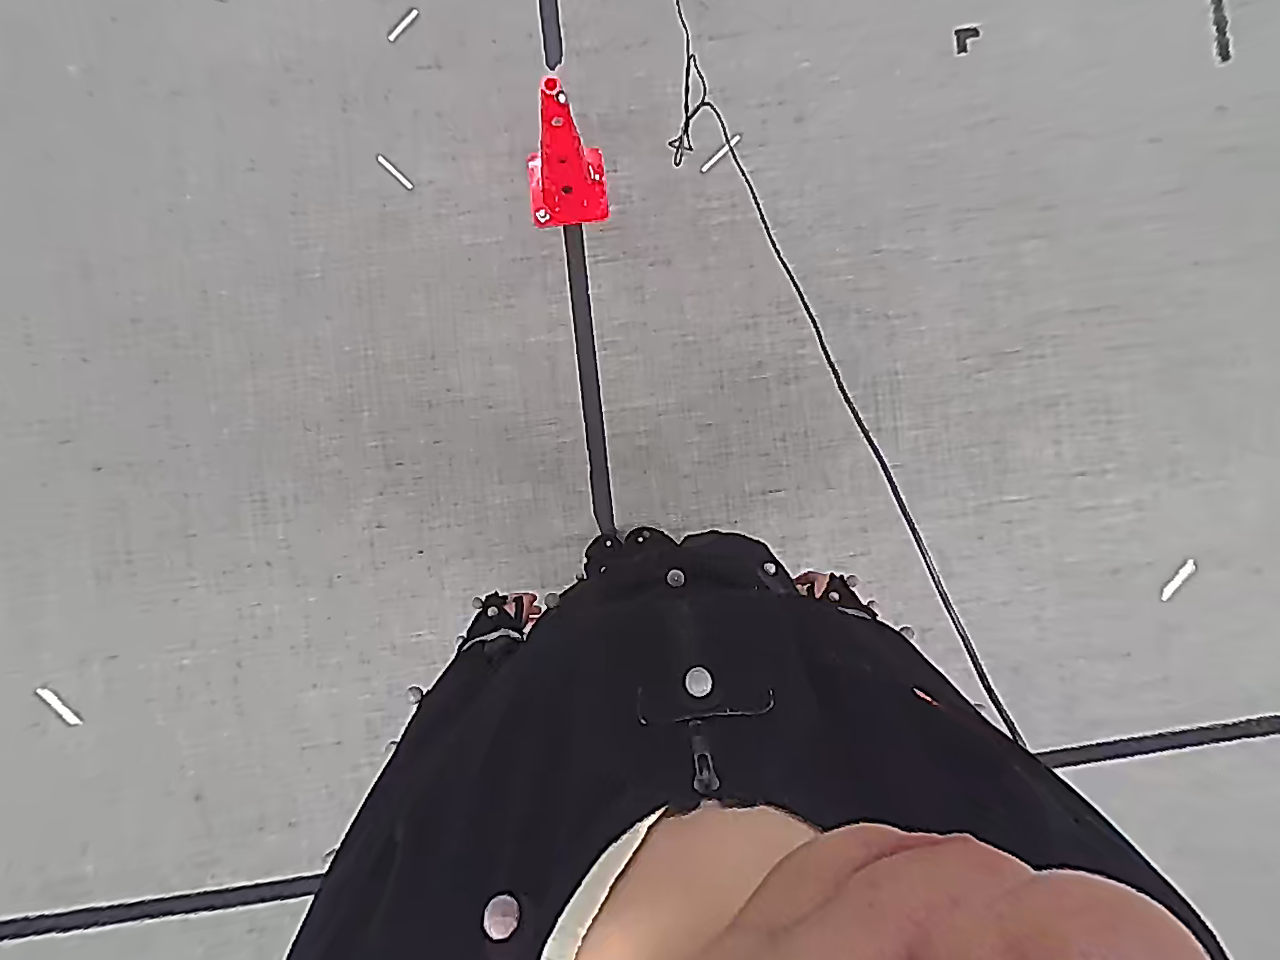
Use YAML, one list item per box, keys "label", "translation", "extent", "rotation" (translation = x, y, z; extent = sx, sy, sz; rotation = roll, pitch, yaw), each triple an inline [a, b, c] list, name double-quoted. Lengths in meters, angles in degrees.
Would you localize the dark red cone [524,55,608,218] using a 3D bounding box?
- label: "dark red cone"
  translation: [-0.181, -0.781, 1.226]
  extent: [0.201, 0.394, 0.202]
  rotation: [-7, 88, -3]
